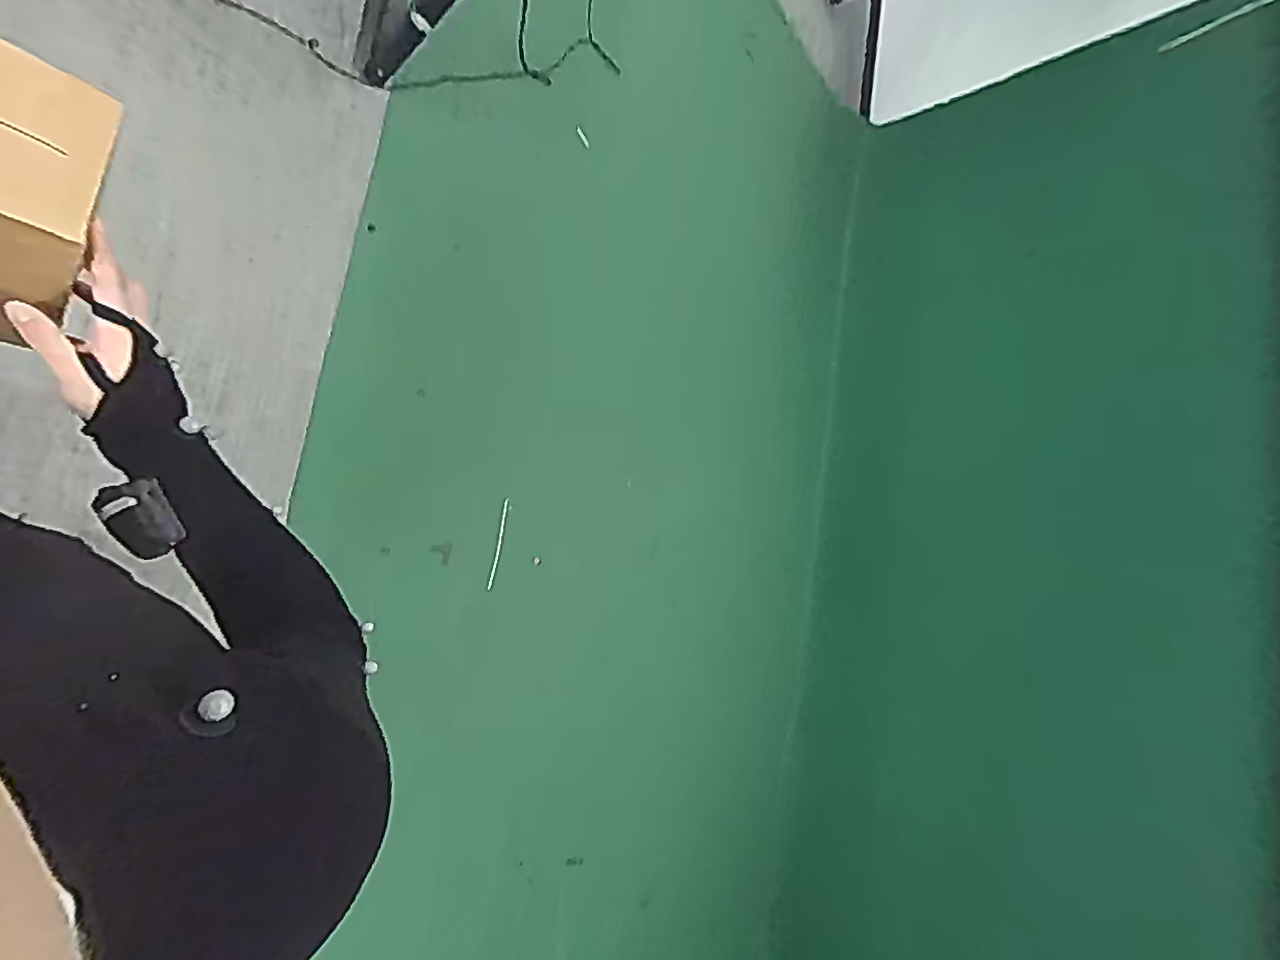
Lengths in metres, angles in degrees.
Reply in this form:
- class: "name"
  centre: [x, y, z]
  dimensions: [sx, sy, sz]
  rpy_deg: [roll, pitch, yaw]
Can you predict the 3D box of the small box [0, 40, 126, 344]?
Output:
- class: "small box"
  centre: [-0.545, -0.234, 0.416]
  dimensions: [0.179, 0.176, 0.168]
  rpy_deg: [17, 55, -47]
